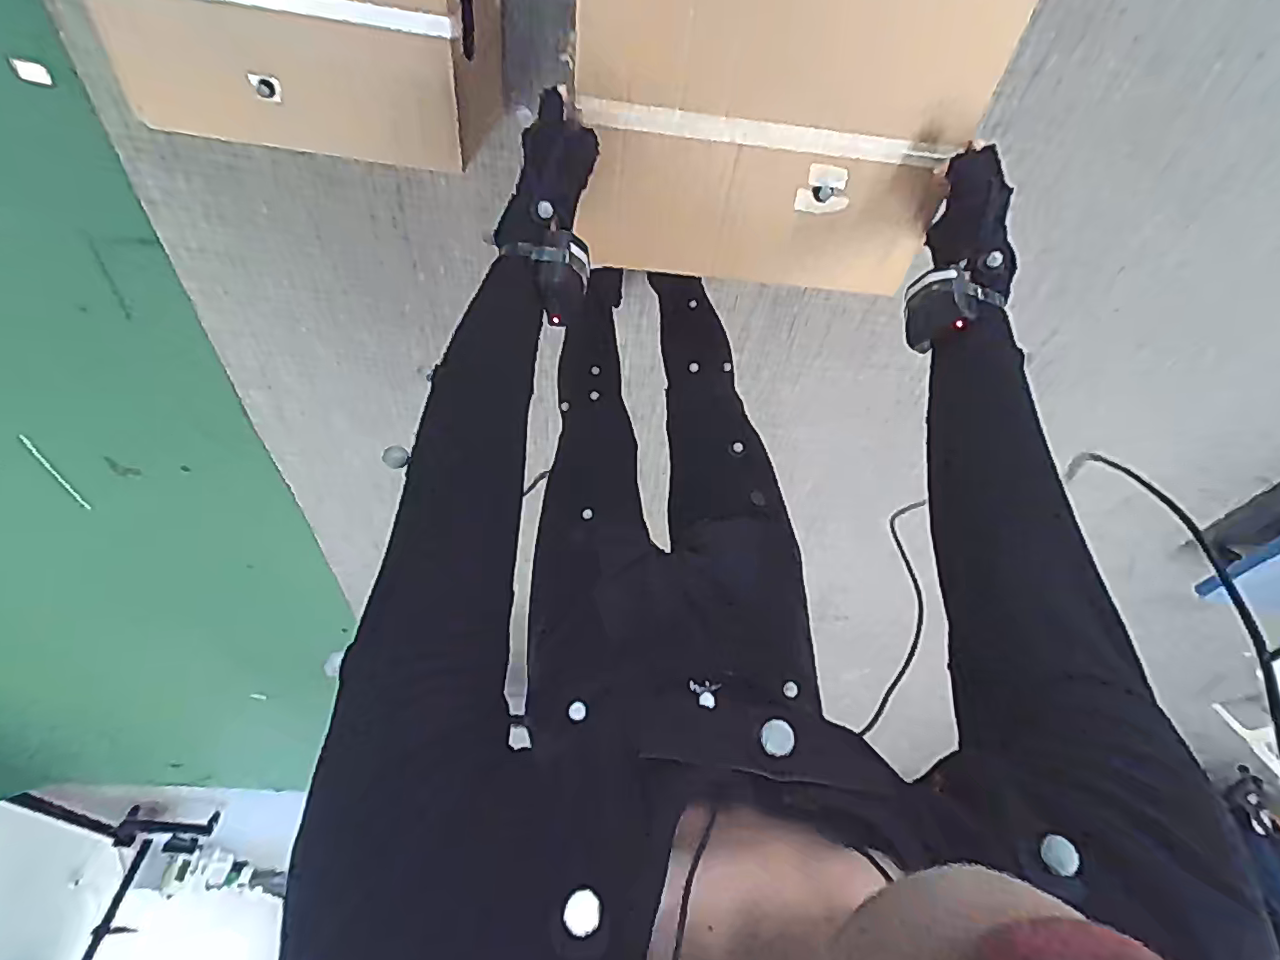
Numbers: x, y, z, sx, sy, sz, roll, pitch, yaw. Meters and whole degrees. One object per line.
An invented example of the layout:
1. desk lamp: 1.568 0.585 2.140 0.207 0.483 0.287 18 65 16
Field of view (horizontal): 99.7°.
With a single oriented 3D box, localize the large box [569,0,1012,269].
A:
1. large box: 0.121 -0.482 0.645 0.408 0.320 0.320 3 137 -8
